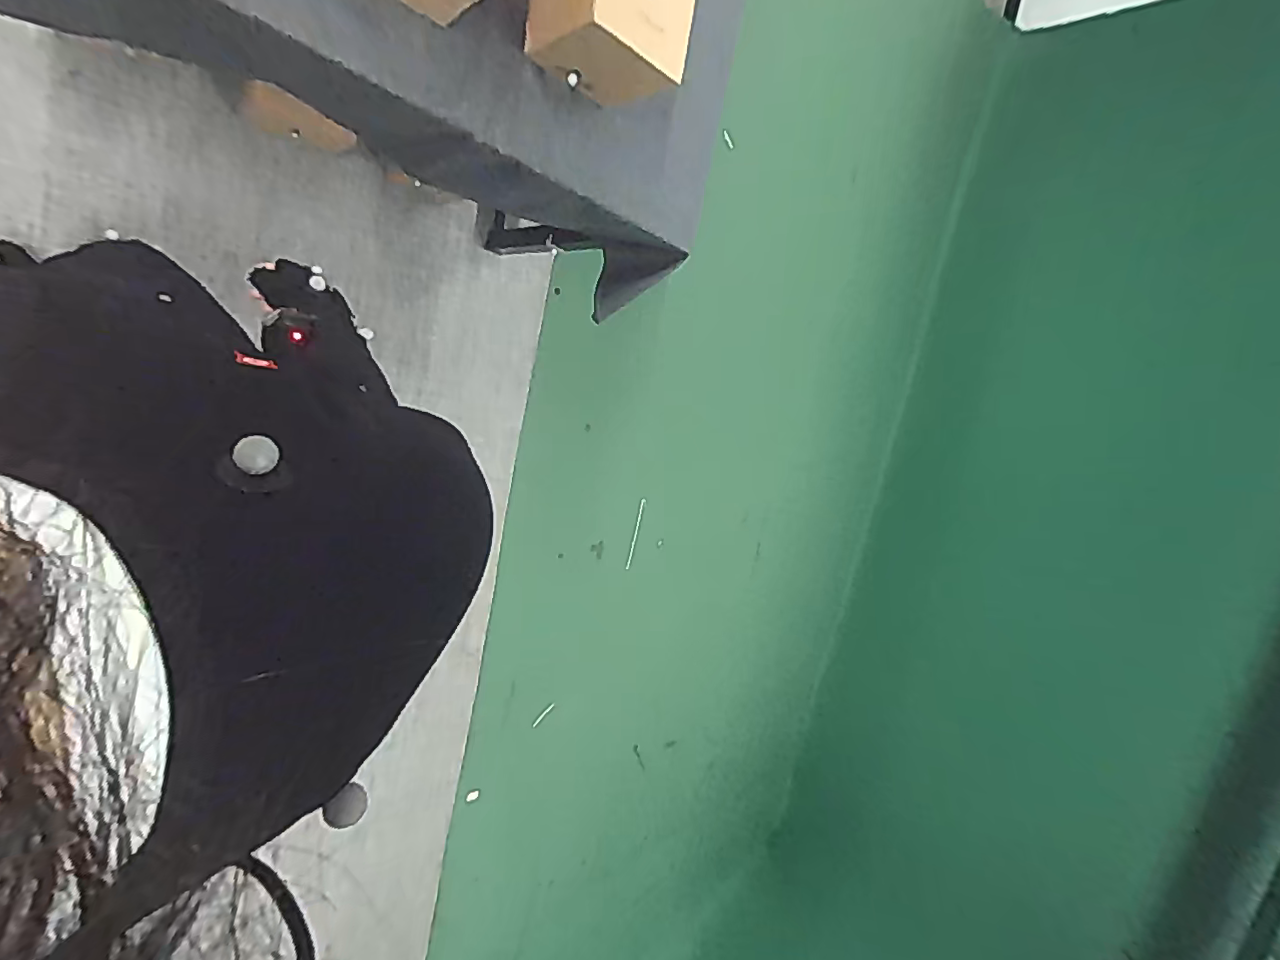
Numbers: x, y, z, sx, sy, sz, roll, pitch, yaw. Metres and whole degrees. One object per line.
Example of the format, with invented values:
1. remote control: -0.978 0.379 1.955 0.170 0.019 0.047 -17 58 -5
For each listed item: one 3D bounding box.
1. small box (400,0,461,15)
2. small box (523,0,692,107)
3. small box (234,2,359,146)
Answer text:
1. small box: -0.247 -0.635 0.558 0.179 0.176 0.168 -4 108 -45
2. small box: -0.045 -0.665 0.754 0.168 0.176 0.179 0 106 -45
3. small box: -0.701 -0.808 1.101 0.179 0.176 0.168 1 105 -45
